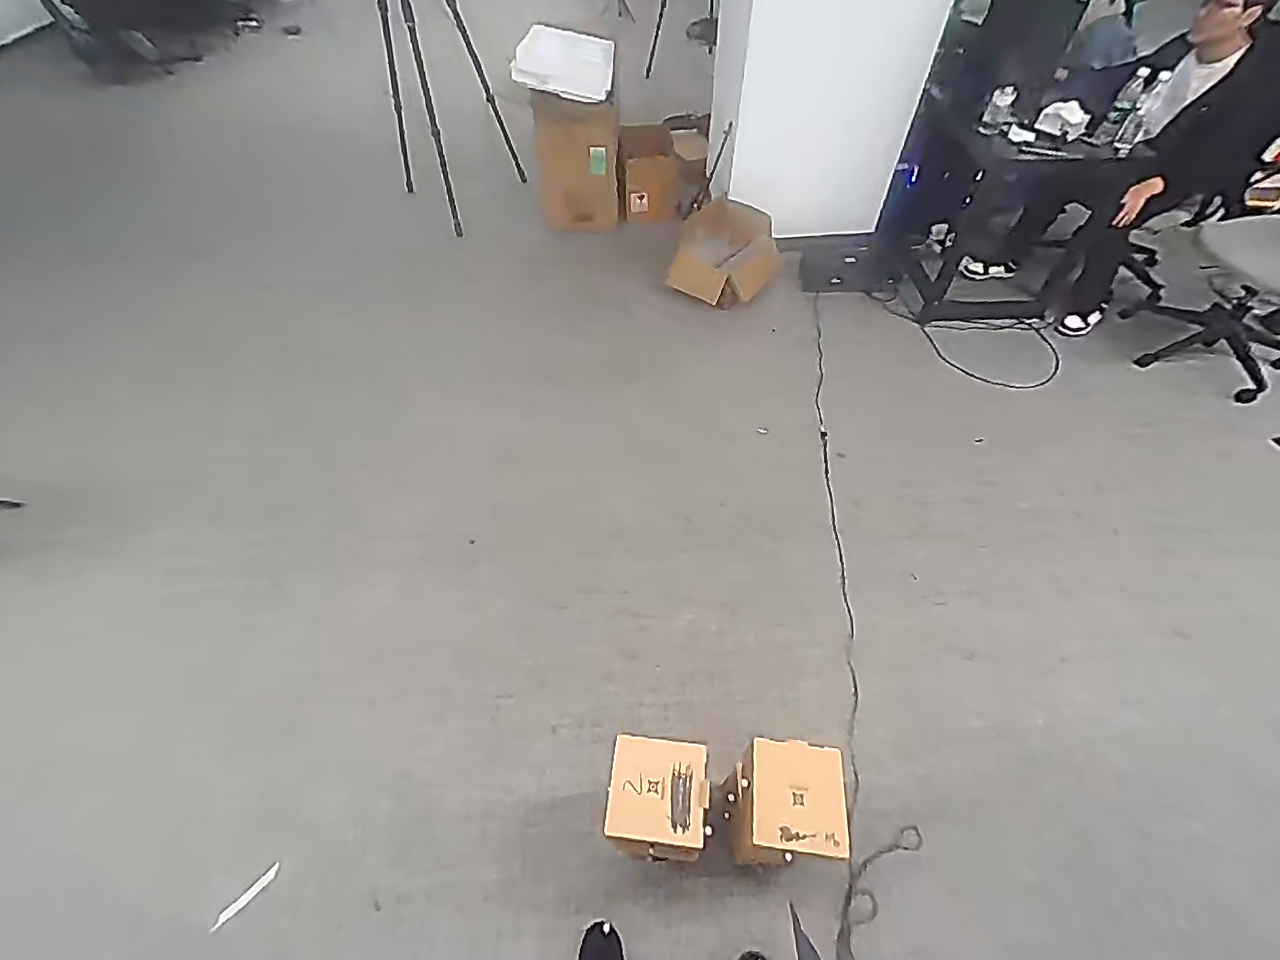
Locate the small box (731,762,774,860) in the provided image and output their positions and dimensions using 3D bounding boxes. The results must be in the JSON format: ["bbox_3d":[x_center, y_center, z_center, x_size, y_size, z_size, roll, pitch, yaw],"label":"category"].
[{"bbox_3d":[0.292,0.717,1.167,0.179,0.176,0.168,0,52,1],"label":"small box"}]

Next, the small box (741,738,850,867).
[{"bbox_3d":[0.287,0.619,1.035,0.168,0.176,0.179,6,52,6],"label":"small box"}]

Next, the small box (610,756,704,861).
[{"bbox_3d":[0.039,0.713,1.169,0.179,0.176,0.168,5,53,6],"label":"small box"}]

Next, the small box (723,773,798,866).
[{"bbox_3d":[0.294,0.816,1.296,0.168,0.176,0.179,-1,53,1],"label":"small box"}]
